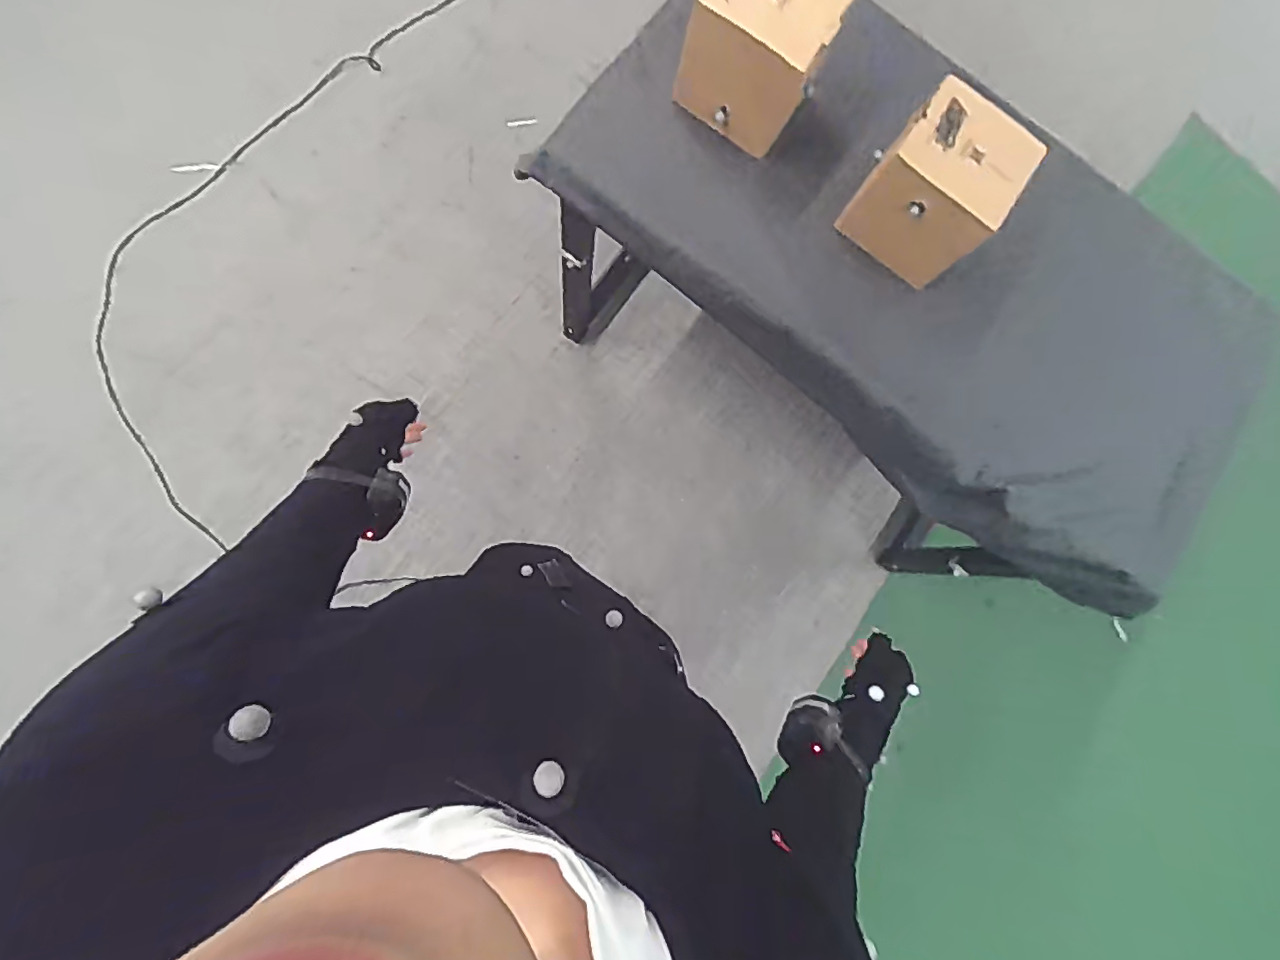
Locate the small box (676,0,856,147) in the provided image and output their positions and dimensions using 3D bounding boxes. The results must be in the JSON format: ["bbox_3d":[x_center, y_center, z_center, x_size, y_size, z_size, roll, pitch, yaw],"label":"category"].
[{"bbox_3d":[0.178,-0.647,0.812,0.179,0.176,0.168,33,80,-3],"label":"small box"}]

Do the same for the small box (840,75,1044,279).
[{"bbox_3d":[0.442,-0.443,0.820,0.179,0.176,0.168,36,80,-2],"label":"small box"}]
